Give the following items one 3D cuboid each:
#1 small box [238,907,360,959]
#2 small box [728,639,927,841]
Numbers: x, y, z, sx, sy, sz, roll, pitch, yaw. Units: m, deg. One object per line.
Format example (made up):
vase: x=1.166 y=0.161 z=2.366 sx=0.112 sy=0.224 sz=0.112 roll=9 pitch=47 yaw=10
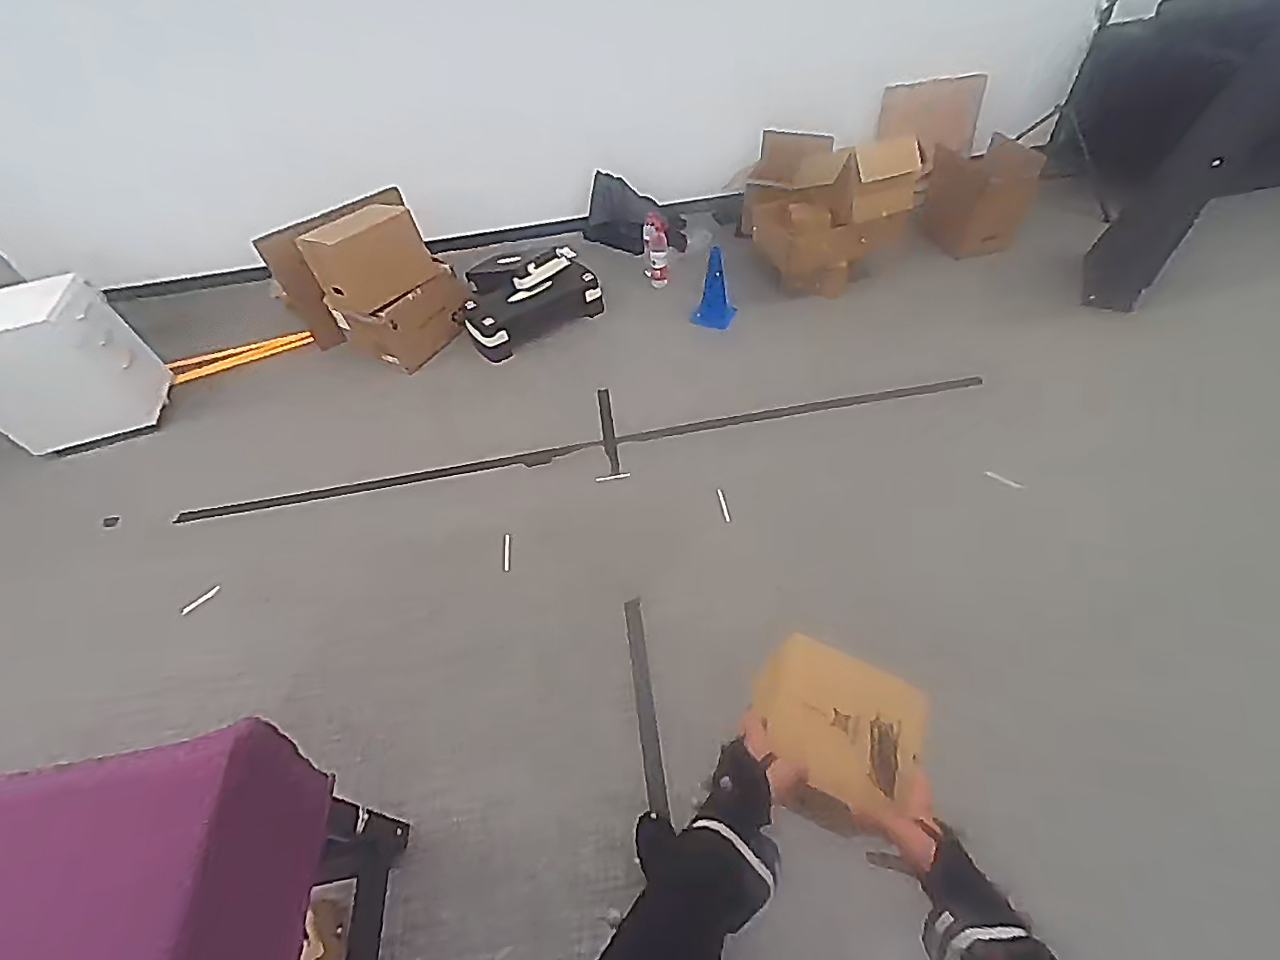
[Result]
small box: x=-0.748 y=1.084 z=1.183 sx=0.179 sy=0.176 sz=0.168 roll=-33 pitch=54 yaw=-19
small box: x=0.235 y=0.338 z=0.703 sx=0.179 sy=0.176 sz=0.168 roll=23 pitch=56 yaw=10
